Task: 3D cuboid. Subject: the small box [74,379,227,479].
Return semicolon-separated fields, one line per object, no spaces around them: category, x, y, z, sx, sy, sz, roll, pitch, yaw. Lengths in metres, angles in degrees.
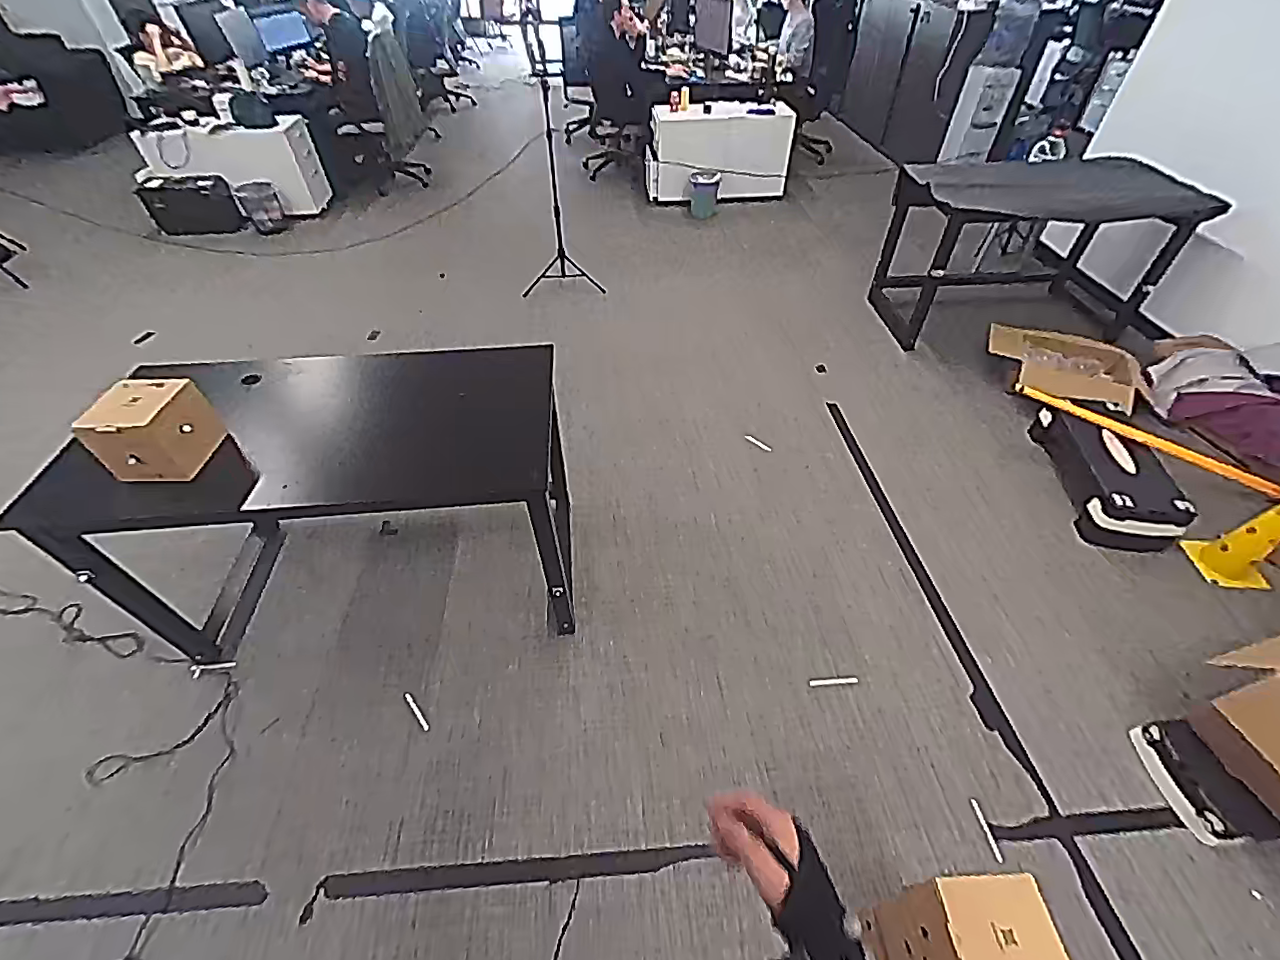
small box;-1.120;-0.115;1.260;0.168;0.176;0.179;-1;47;0

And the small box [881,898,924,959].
small box;0.592;0.916;1.039;0.168;0.176;0.179;-3;48;-3

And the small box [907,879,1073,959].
small box;0.597;0.797;0.927;0.179;0.176;0.168;-2;47;-1
